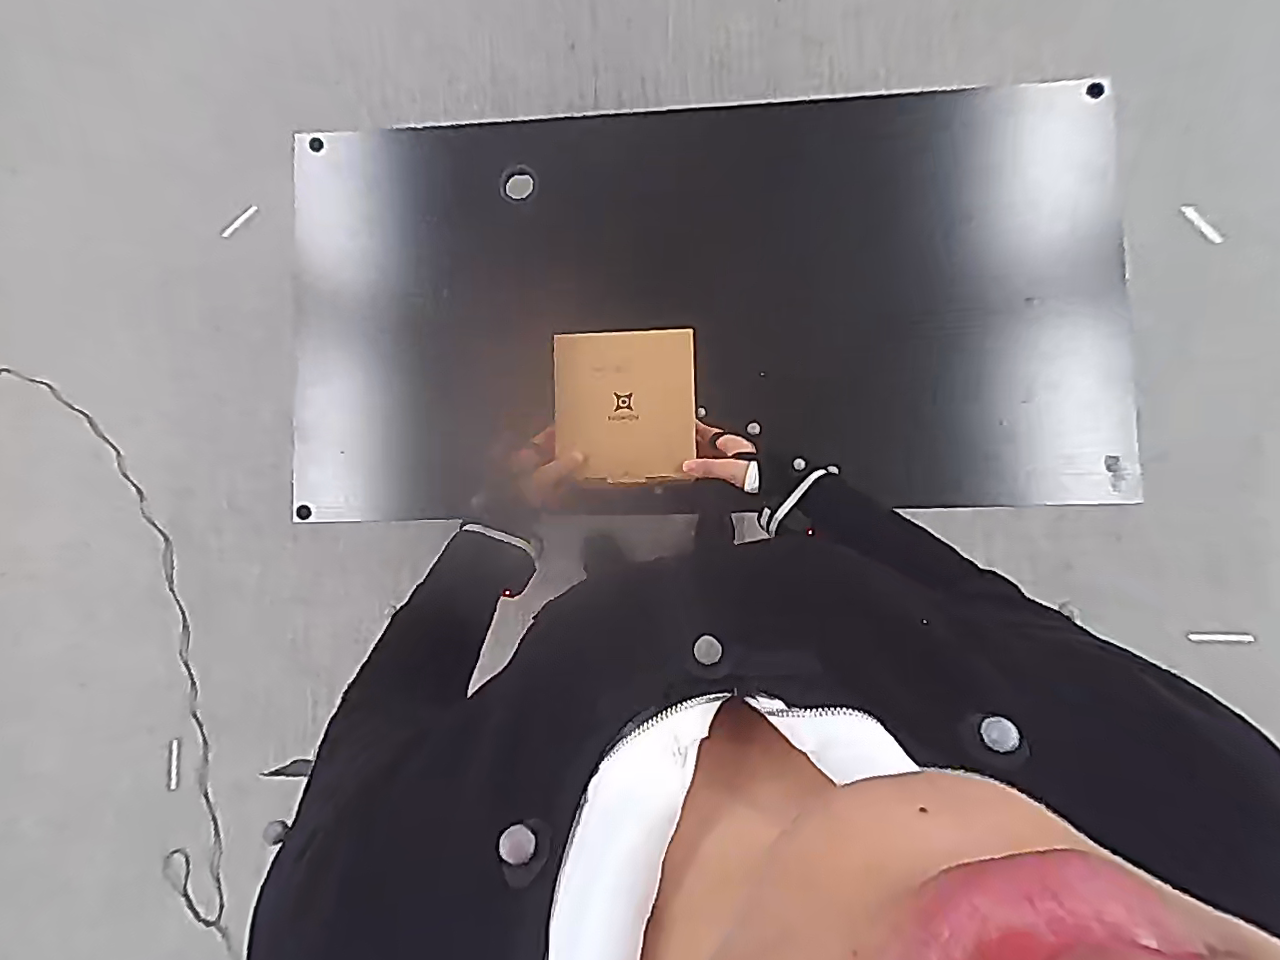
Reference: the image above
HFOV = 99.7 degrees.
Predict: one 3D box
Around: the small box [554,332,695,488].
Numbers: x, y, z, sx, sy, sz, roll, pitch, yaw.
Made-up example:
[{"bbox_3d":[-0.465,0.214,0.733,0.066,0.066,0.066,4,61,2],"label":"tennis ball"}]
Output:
[{"bbox_3d":[-0.014,-0.079,0.701,0.168,0.176,0.179,-1,86,2],"label":"small box"}]
